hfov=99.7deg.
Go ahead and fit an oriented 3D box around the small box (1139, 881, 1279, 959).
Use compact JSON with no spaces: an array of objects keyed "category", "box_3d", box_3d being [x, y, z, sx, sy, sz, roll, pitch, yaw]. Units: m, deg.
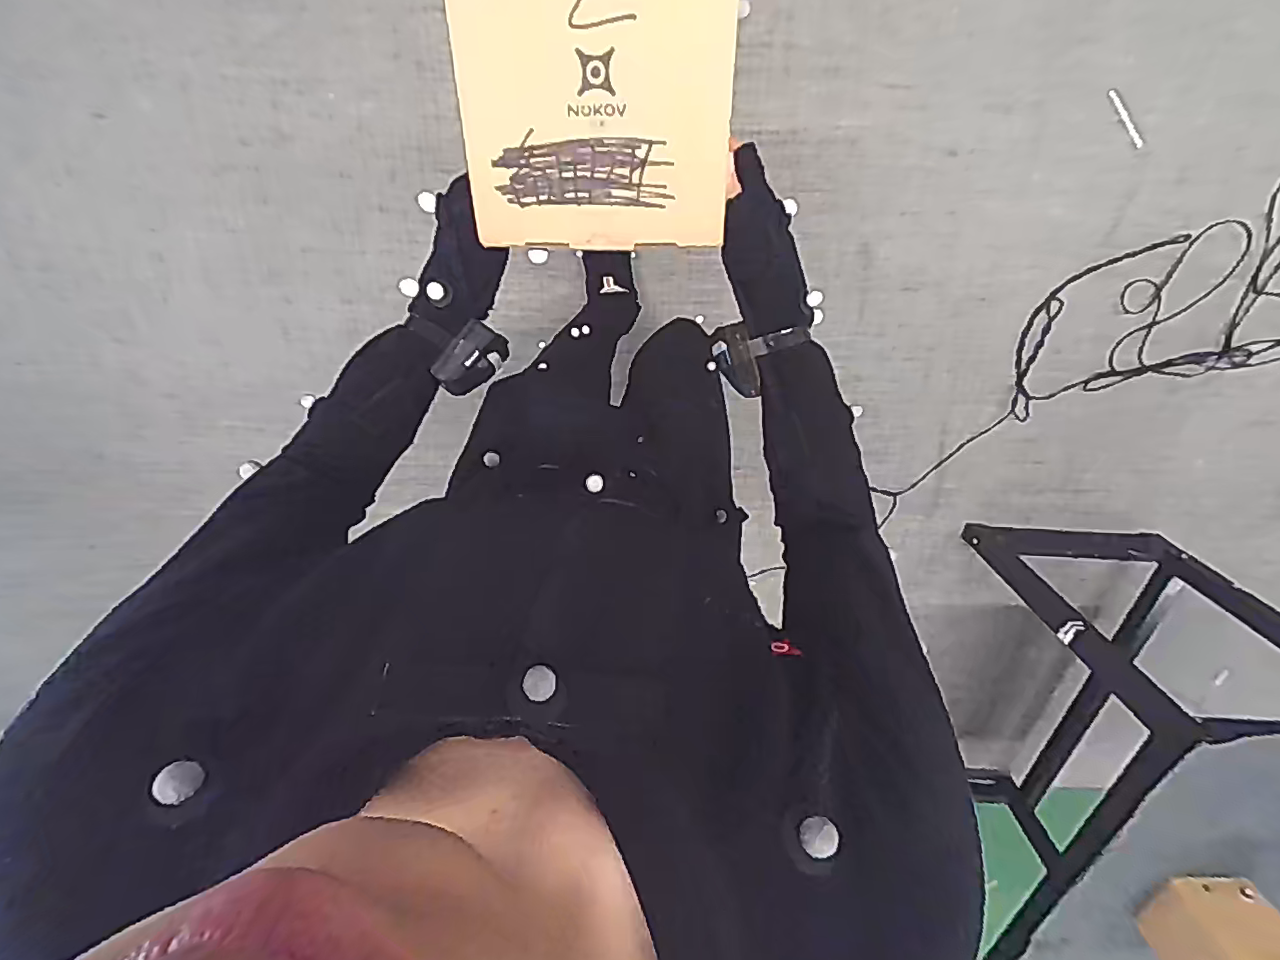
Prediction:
[{"category":"small box","box_3d":[1.158,0.928,1.069,0.168,0.176,0.179,1,118,0]}]
